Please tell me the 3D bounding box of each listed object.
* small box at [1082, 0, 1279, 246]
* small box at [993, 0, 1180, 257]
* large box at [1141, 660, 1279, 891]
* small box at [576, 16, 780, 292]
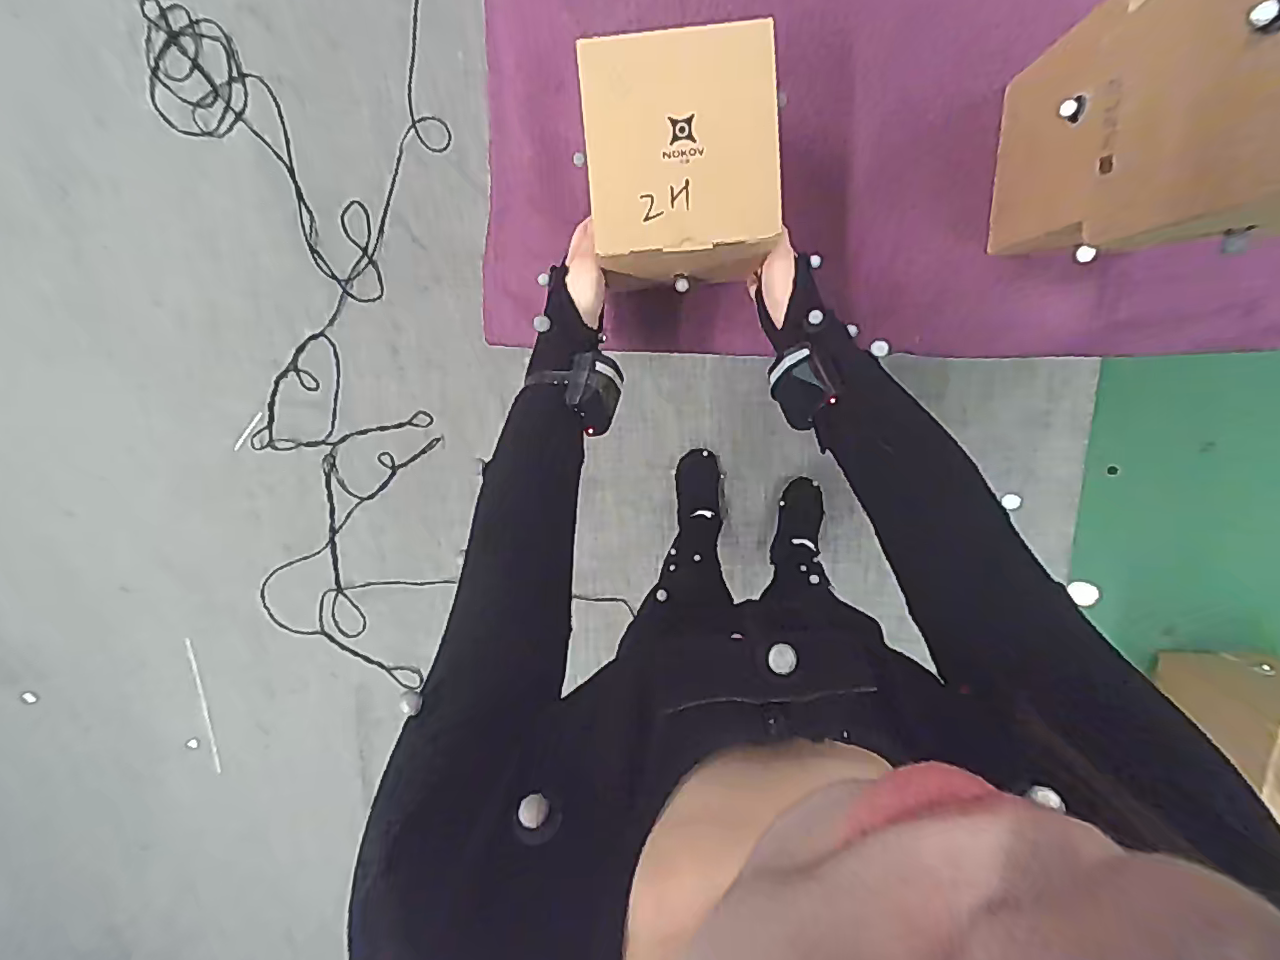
[{"bbox_3d":[0.449,-0.261,0.354,0.179,0.176,0.168,-3,101,4],"label":"small box"},{"bbox_3d":[0.467,-0.321,0.508,0.168,0.176,0.179,1,101,4],"label":"small box"},{"bbox_3d":[1.529,0.695,1.311,0.320,0.320,0.408,1,102,5],"label":"large box"},{"bbox_3d":[0.035,-0.296,0.530,0.168,0.176,0.179,-4,99,3],"label":"small box"}]
